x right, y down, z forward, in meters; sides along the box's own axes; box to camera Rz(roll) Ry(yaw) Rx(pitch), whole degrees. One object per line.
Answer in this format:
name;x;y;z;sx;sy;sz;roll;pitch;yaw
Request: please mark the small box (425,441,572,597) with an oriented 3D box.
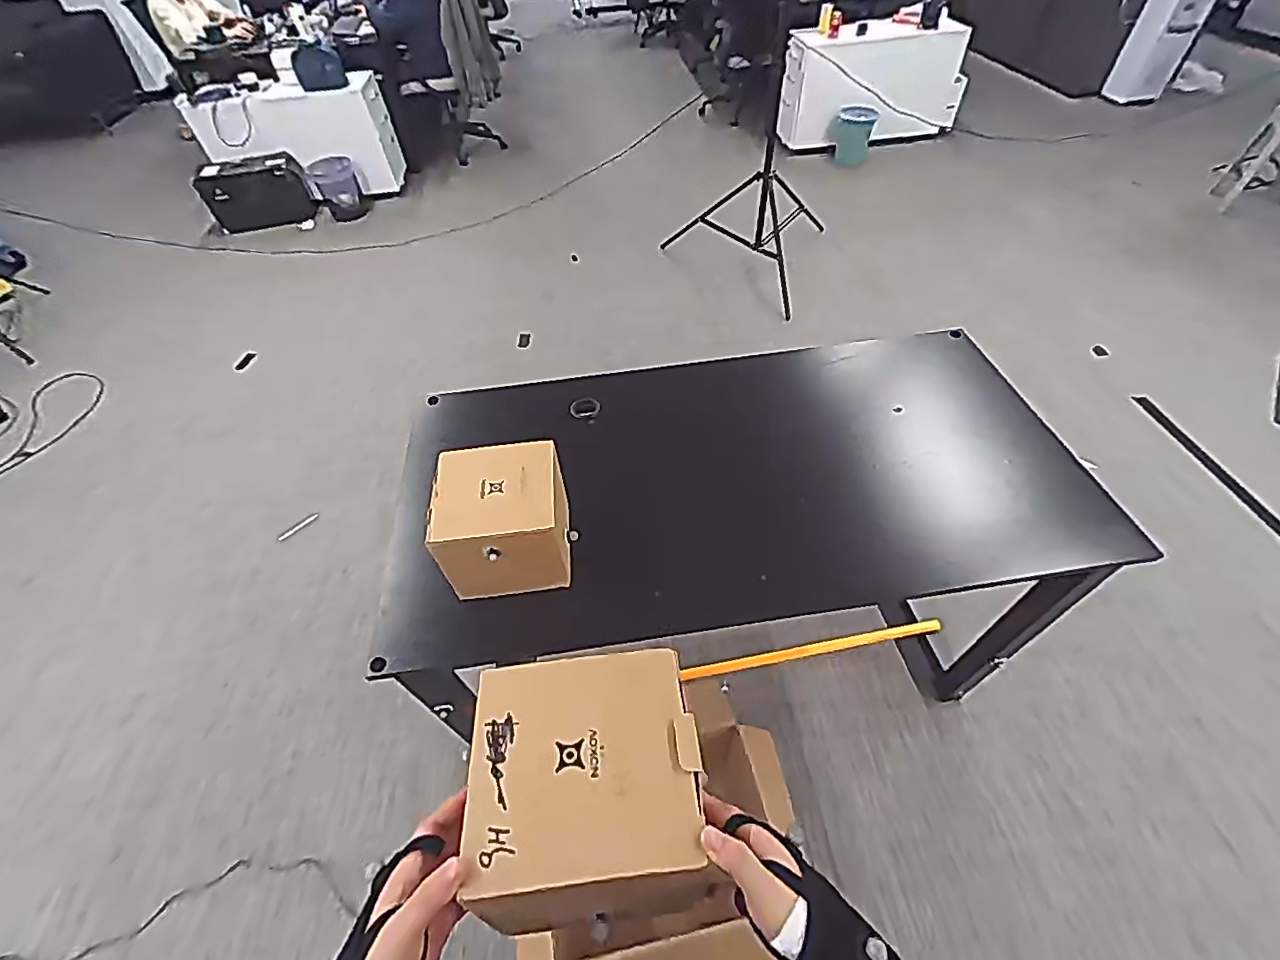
small box;-0.205;0.064;0.828;0.179;0.176;0.168;-7;51;-3
